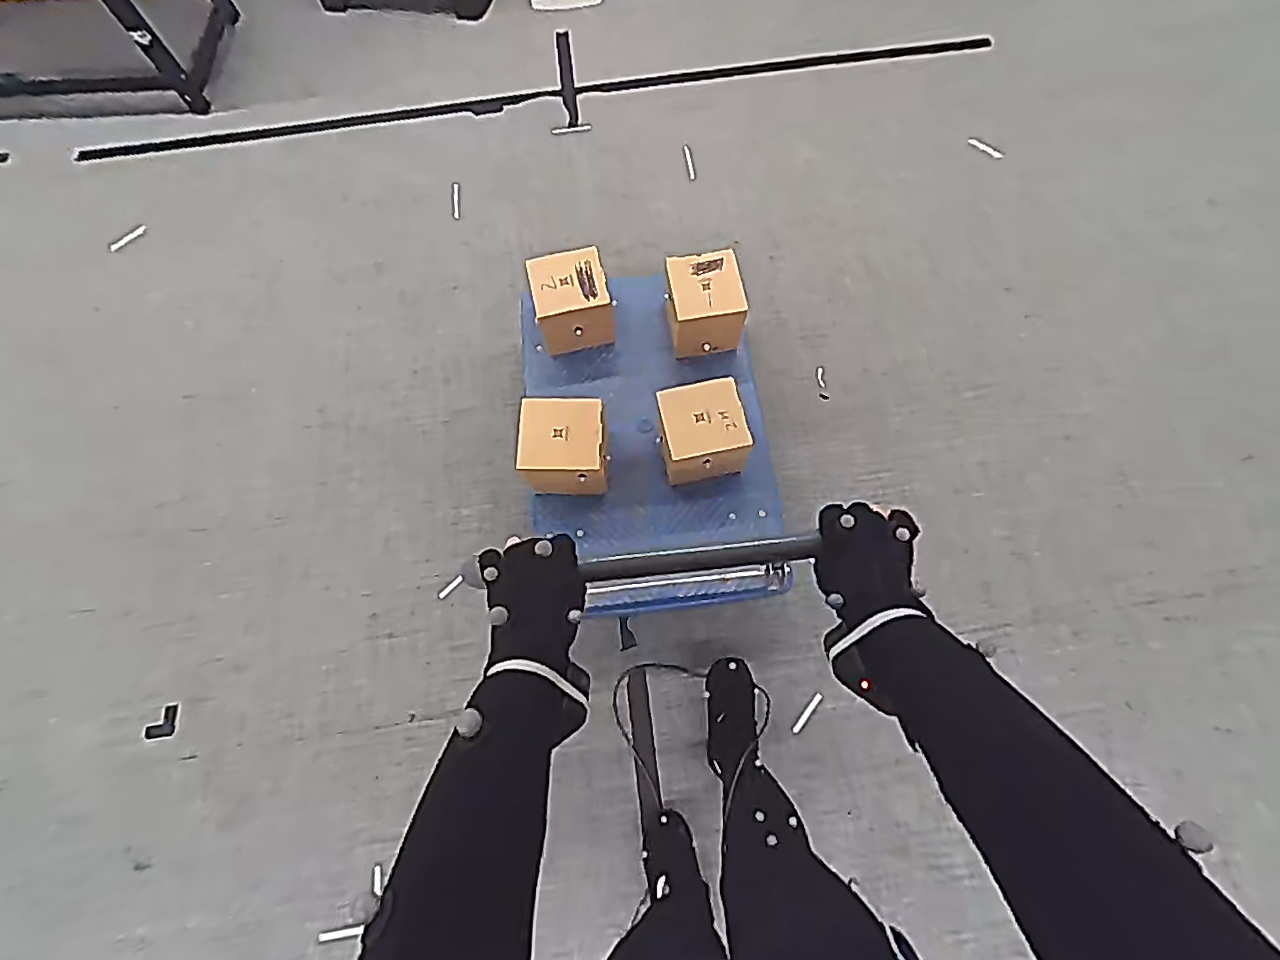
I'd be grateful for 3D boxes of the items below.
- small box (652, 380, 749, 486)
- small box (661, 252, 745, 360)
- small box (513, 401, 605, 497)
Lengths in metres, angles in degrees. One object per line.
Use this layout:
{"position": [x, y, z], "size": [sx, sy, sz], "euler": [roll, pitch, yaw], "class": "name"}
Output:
{"position": [0.130, -0.099, 1.210], "size": [0.179, 0.176, 0.168], "euler": [-12, 72, -3], "class": "small box"}
{"position": [0.146, -0.420, 1.319], "size": [0.168, 0.176, 0.179], "euler": [-9, 72, -2], "class": "small box"}
{"position": [-0.173, -0.064, 1.204], "size": [0.179, 0.176, 0.168], "euler": [0, 71, -1], "class": "small box"}
